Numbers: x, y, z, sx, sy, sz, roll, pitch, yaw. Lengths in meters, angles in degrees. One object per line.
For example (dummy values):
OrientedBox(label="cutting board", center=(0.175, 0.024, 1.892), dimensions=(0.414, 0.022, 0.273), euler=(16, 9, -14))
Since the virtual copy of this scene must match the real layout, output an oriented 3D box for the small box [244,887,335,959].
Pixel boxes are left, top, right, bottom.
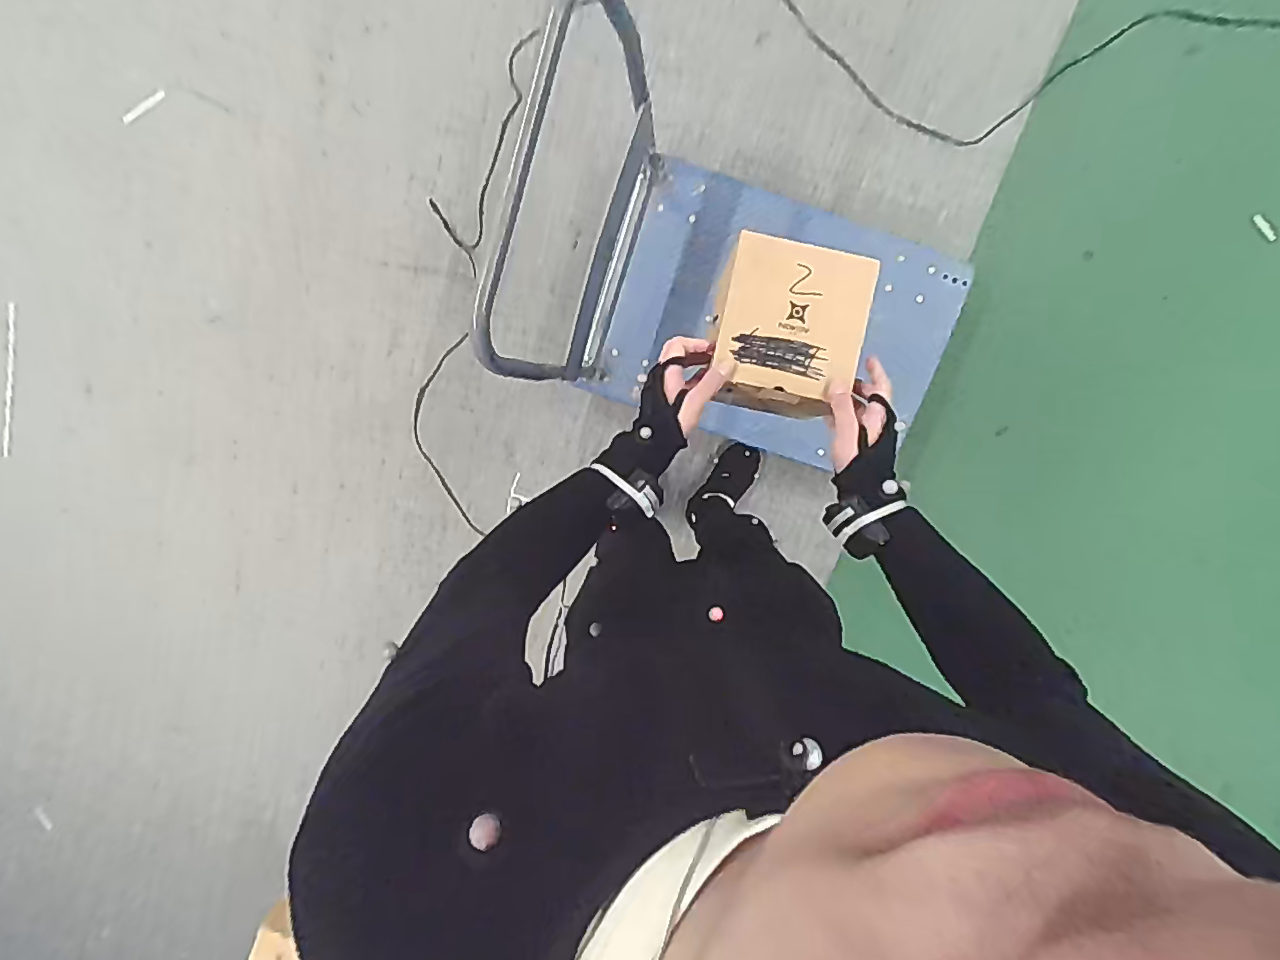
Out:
OrientedBox(label="small box", center=(-1.073, 1.411, 1.653), dimensions=(0.168, 0.176, 0.179), euler=(24, 100, -2))
